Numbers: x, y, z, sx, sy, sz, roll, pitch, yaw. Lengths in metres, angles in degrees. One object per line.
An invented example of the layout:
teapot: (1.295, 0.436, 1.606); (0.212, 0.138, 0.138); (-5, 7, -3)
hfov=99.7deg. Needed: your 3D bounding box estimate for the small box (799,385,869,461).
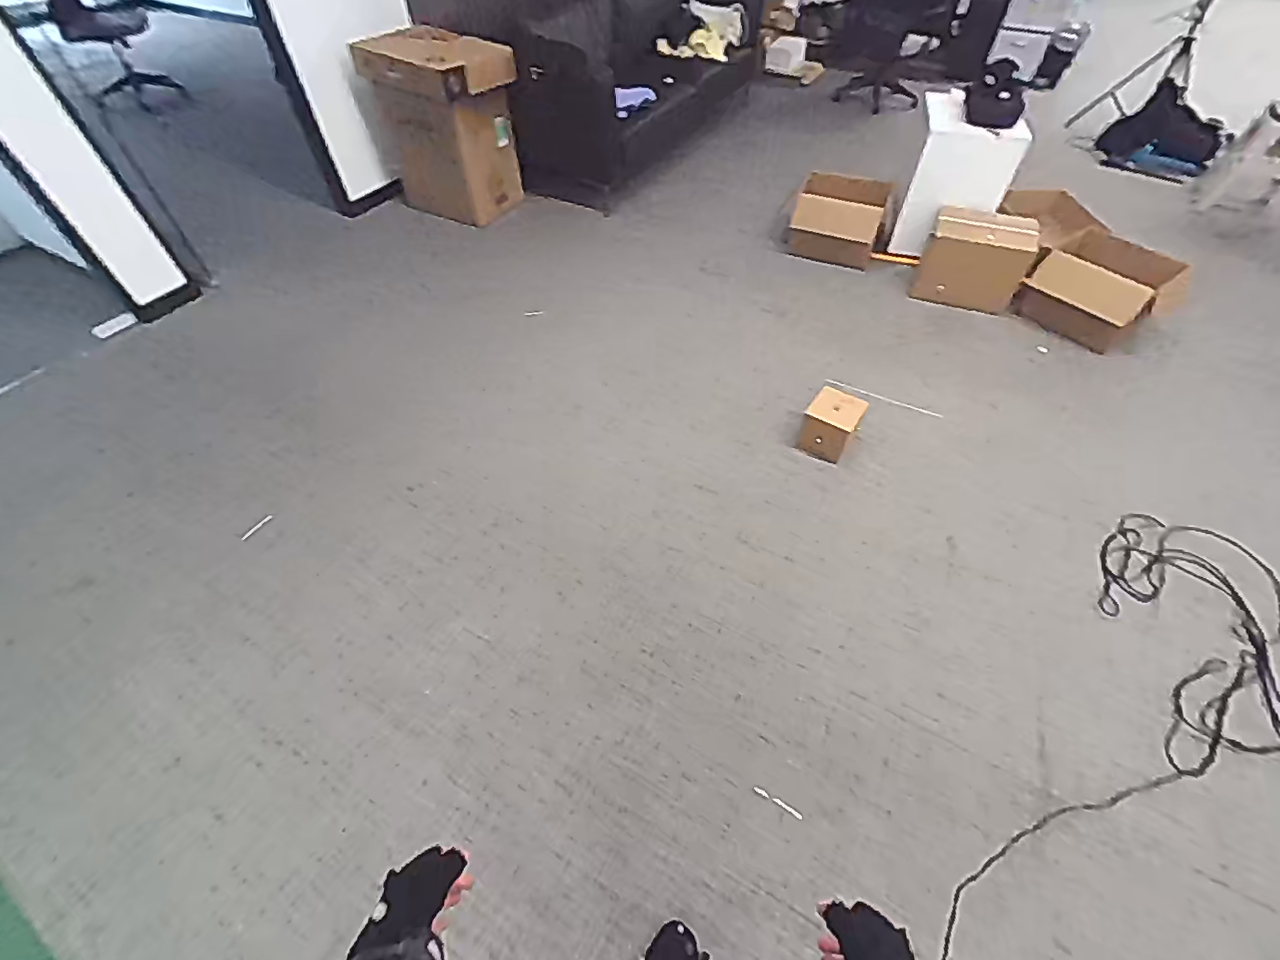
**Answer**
small box: (0.684, -0.199, 1.926); (0.168, 0.176, 0.179); (29, 57, 22)
